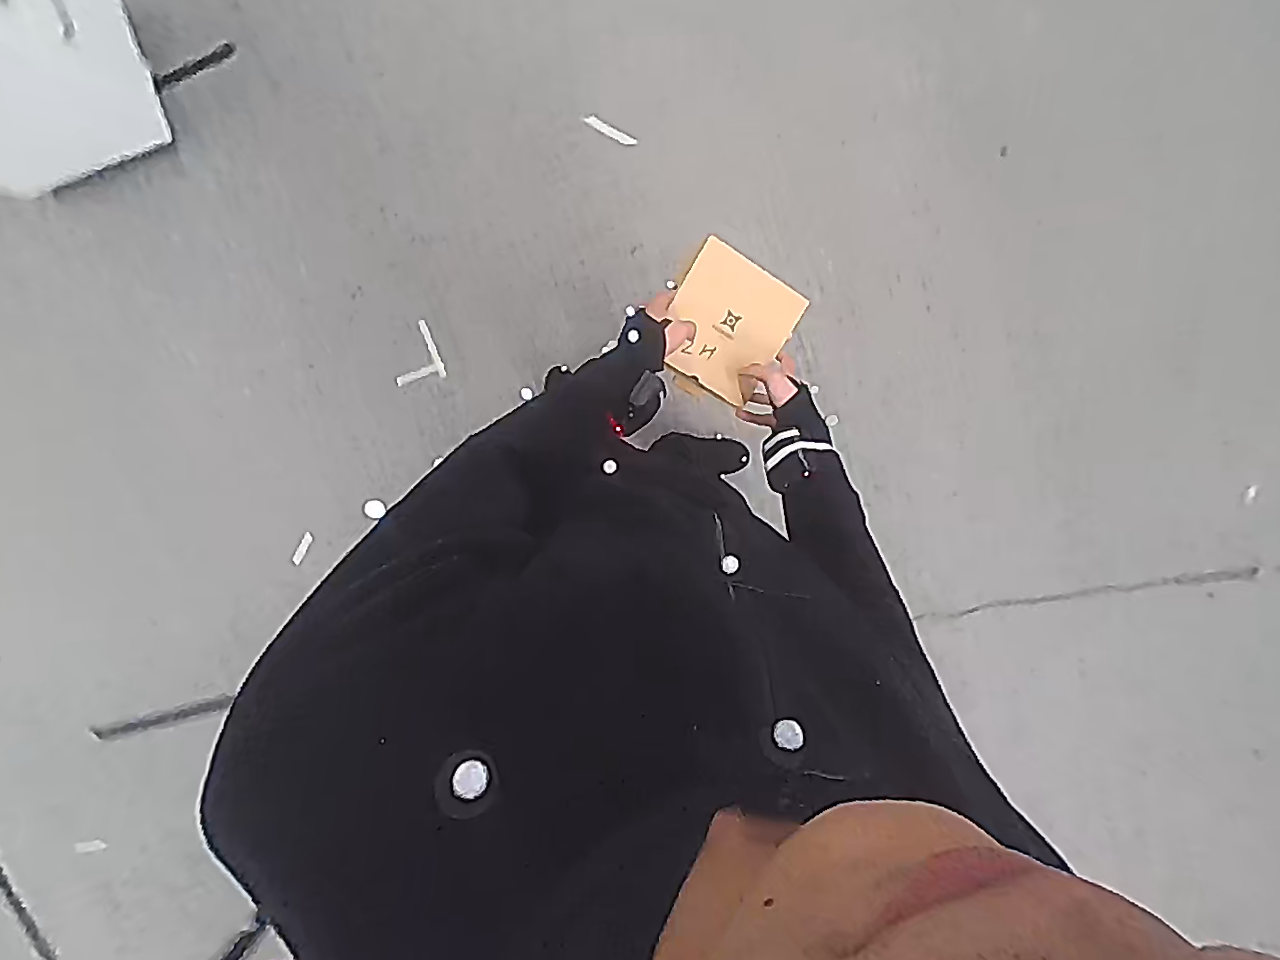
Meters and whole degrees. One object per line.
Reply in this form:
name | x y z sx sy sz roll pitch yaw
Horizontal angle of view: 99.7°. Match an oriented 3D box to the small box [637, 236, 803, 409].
small box | 0.105 -0.231 0.812 0.168 0.176 0.179 29 101 -11
